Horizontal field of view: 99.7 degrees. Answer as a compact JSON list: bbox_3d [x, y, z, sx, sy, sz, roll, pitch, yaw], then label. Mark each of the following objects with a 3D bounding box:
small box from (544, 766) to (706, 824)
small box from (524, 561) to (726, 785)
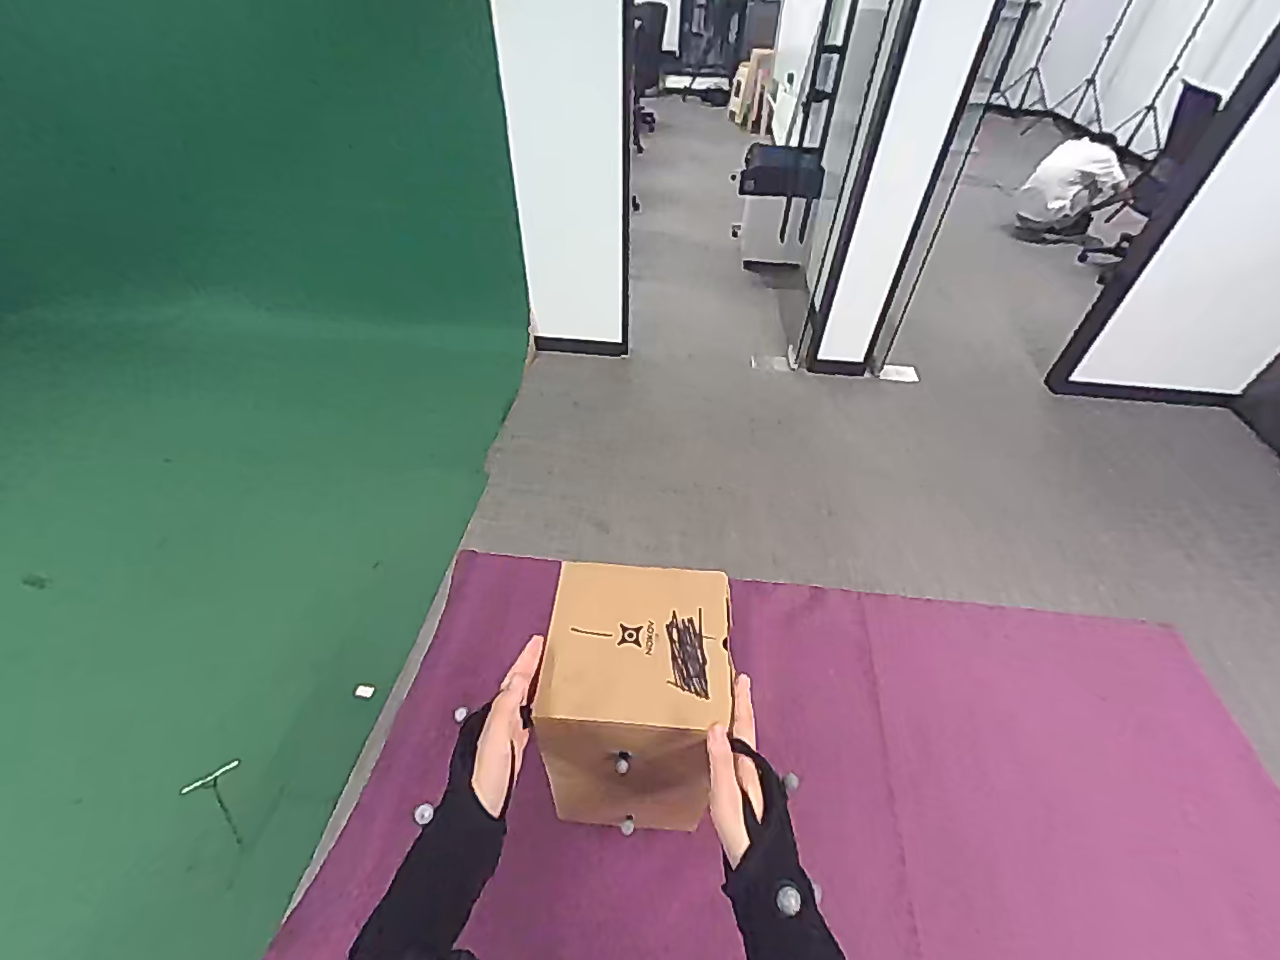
[{"bbox_3d":[-0.014,0.322,0.690,0.179,0.176,0.168,4,45,1],"label":"small box"},{"bbox_3d":[-0.009,0.207,0.573,0.179,0.176,0.168,3,45,3],"label":"small box"}]
